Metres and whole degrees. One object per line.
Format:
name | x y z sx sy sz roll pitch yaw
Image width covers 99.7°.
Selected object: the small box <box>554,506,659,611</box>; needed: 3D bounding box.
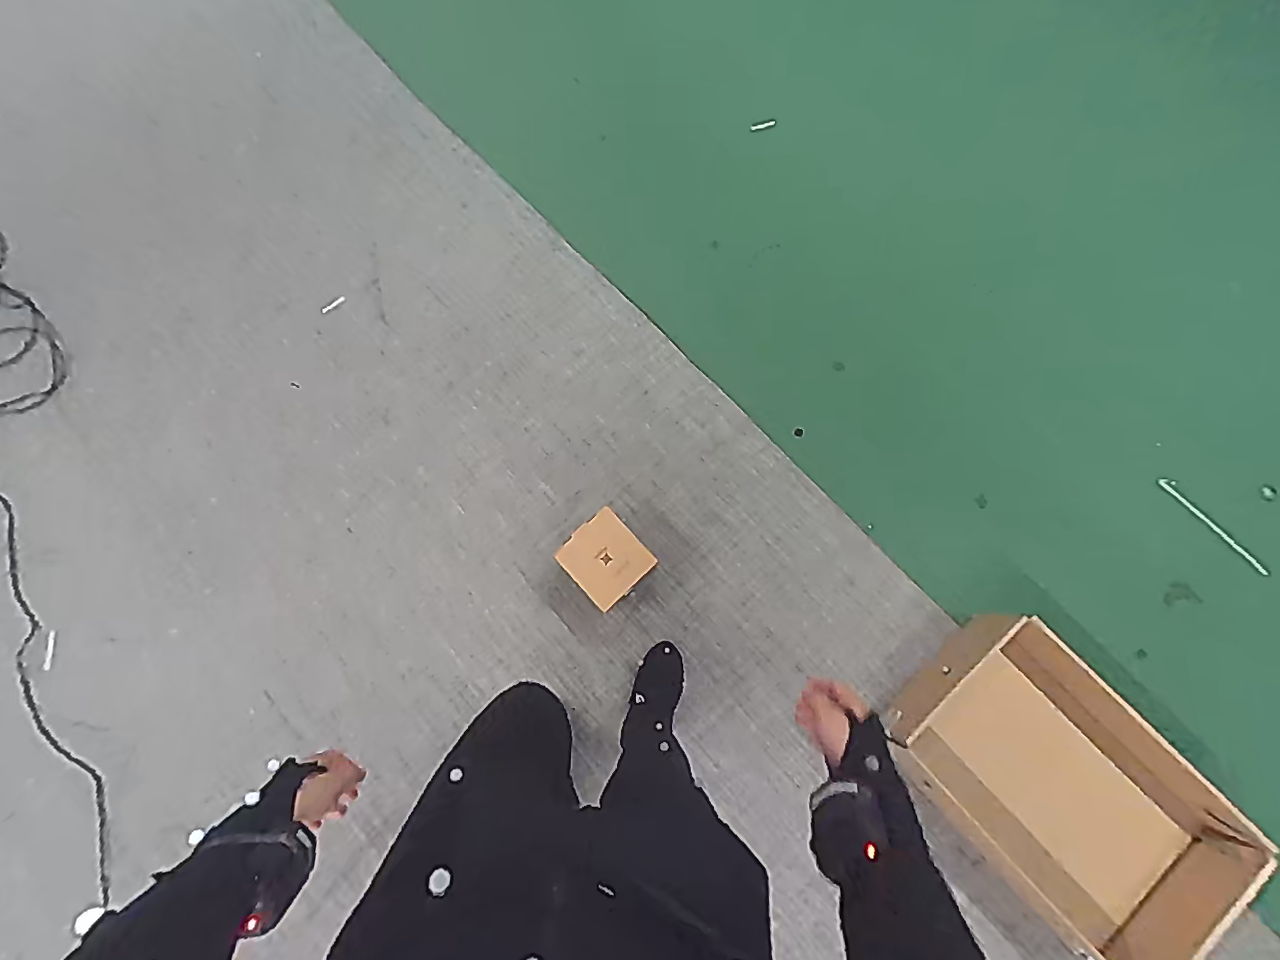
small box | -0.075 0.186 1.262 0.168 0.176 0.179 -43 82 -7
